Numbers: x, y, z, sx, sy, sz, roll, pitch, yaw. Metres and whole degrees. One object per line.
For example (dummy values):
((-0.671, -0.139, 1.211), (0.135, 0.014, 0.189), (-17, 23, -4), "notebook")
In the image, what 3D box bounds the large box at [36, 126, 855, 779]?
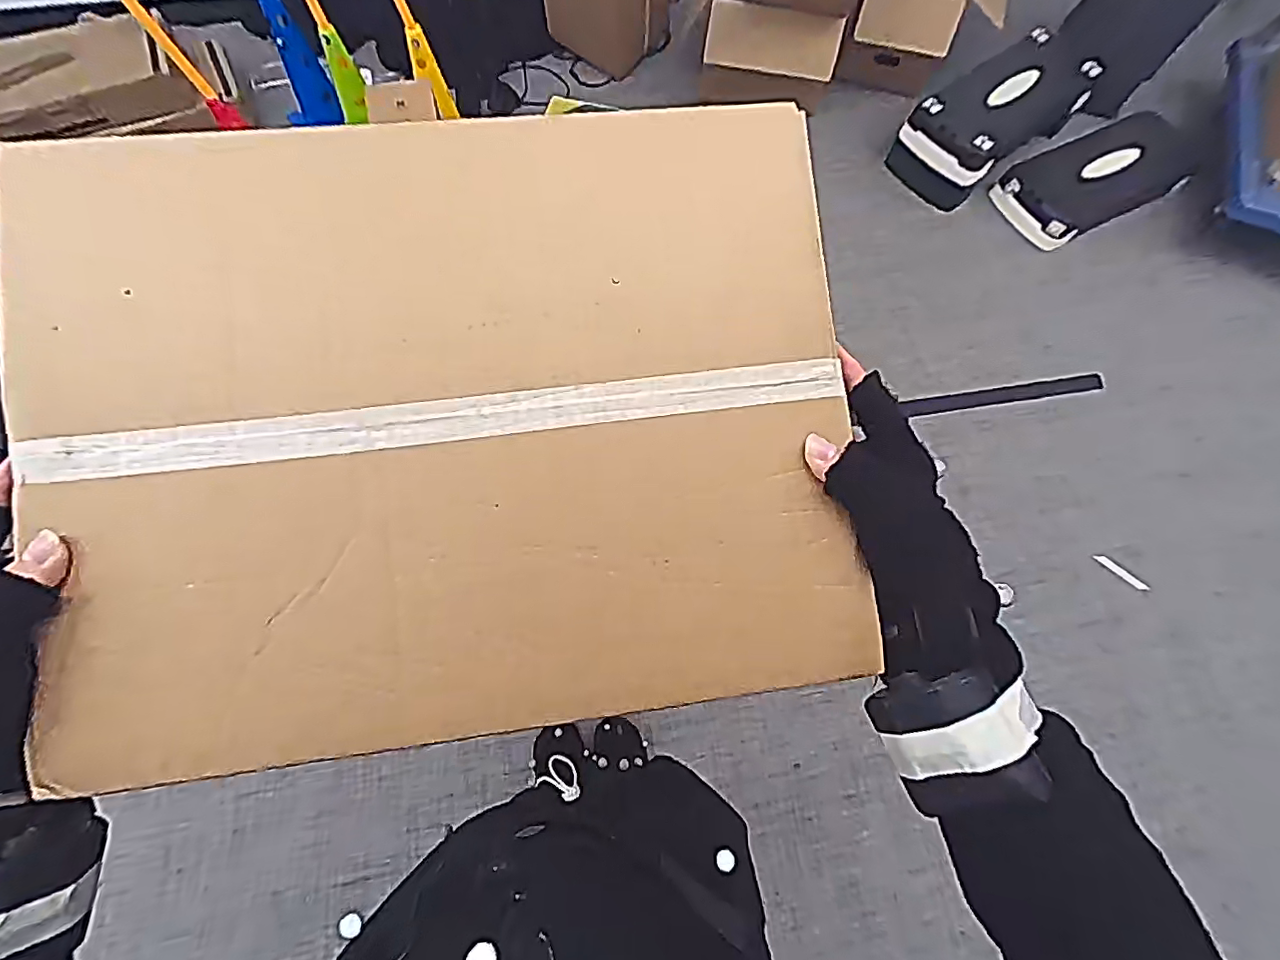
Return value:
((-0.106, -0.021, 0.433), (0.408, 0.320, 0.320), (-6, 86, -5), "large box")
